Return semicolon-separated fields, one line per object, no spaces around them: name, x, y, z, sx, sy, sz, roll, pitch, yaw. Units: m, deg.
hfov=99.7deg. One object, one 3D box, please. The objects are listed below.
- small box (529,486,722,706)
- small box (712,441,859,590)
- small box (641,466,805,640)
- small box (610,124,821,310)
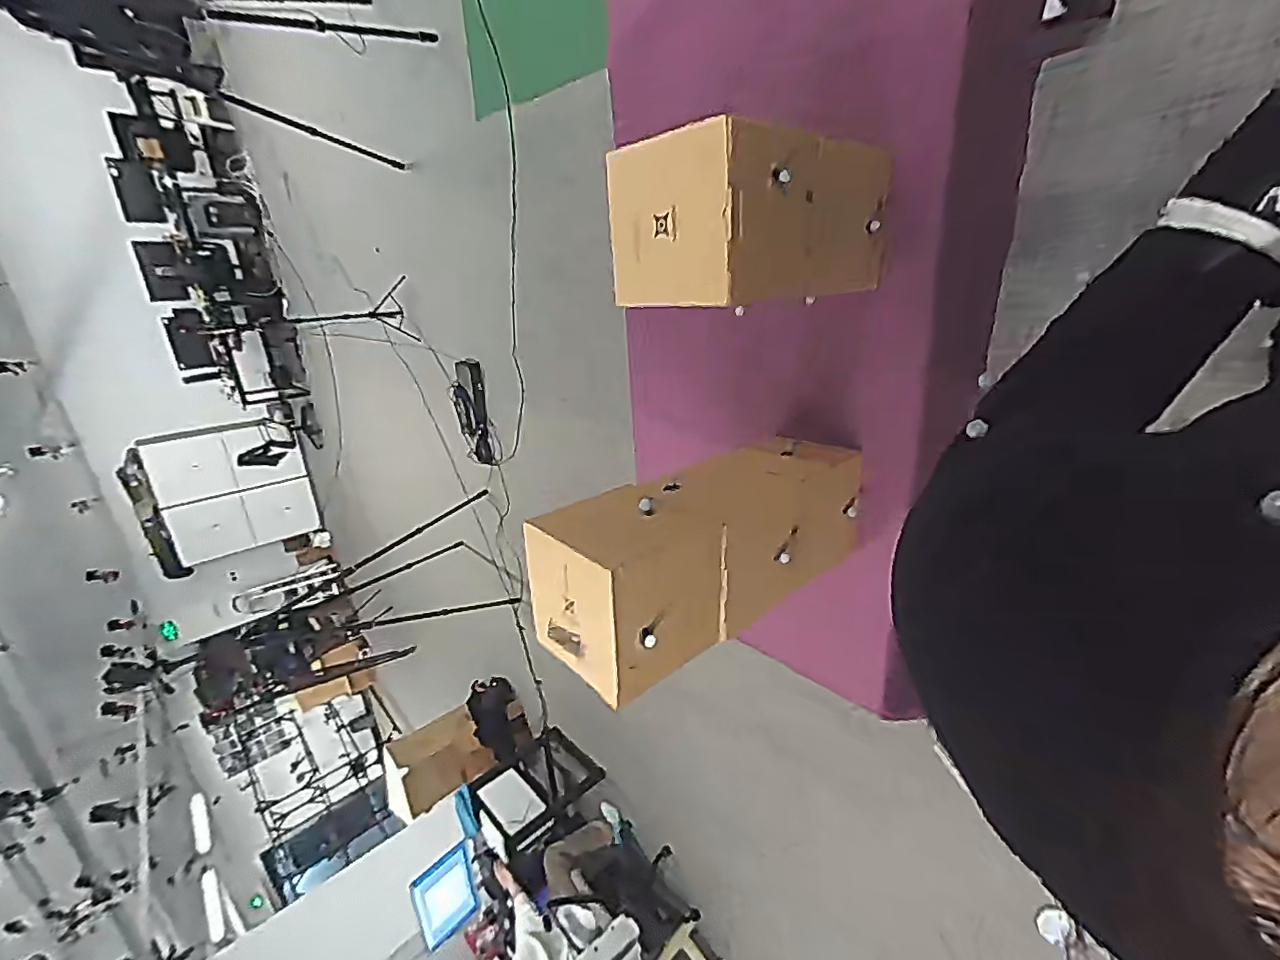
small box;-0.014;0.126;0.661;0.168;0.176;0.179;20;120;44
small box;0.232;0.044;0.864;0.168;0.176;0.179;16;117;46
small box;0.107;0.088;0.764;0.179;0.176;0.168;19;120;44
small box;0.089;-0.290;0.624;0.179;0.176;0.168;18;119;44
